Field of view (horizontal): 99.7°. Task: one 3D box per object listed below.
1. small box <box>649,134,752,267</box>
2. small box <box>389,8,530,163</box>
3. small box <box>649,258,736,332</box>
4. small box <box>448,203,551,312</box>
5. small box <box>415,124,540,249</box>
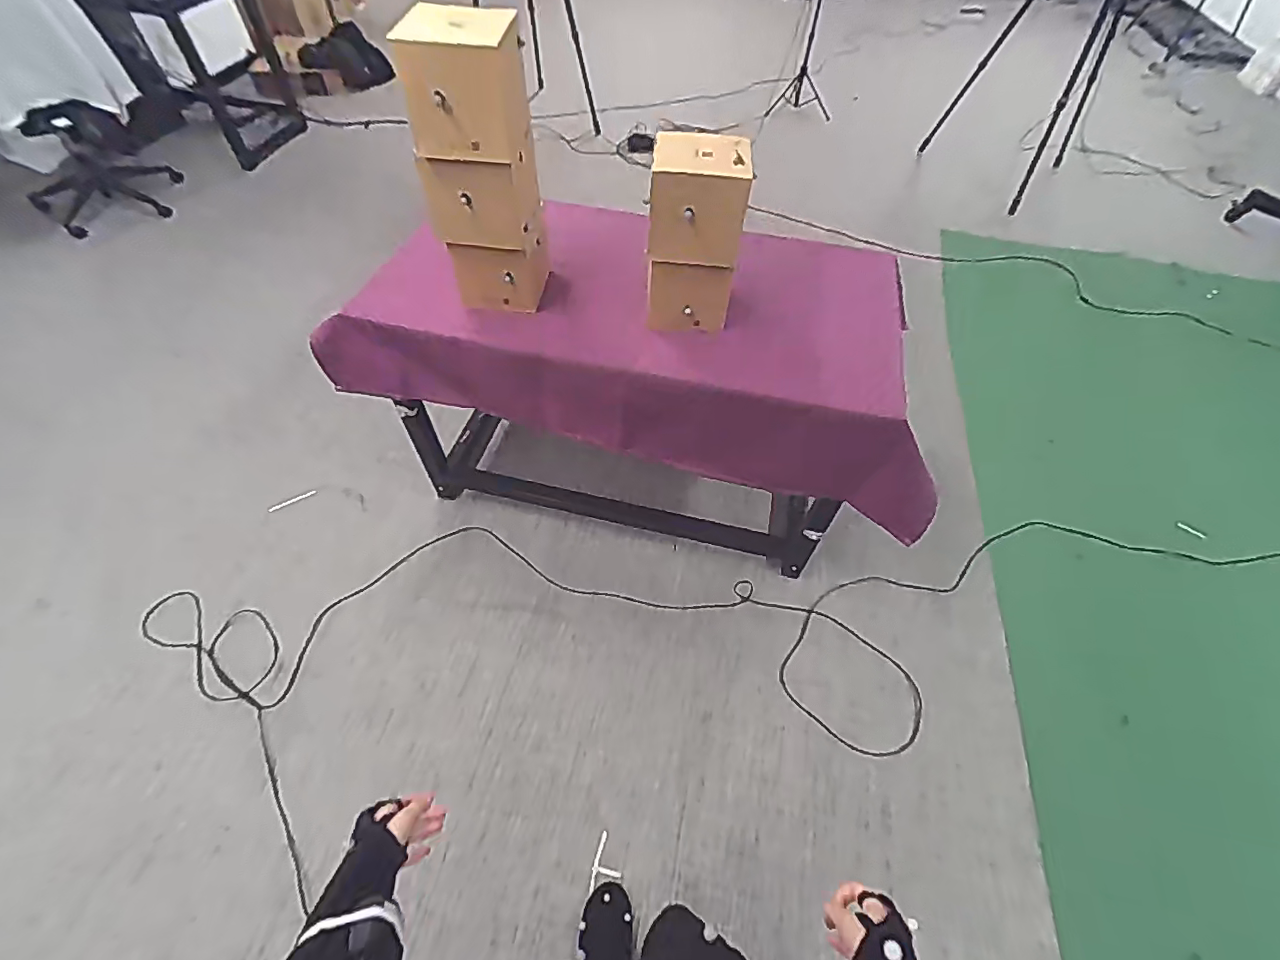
[{"bbox_3d":[0.110,-0.525,1.021,0.179,0.176,0.168,6,54,2],"label":"small box"},{"bbox_3d":[-0.285,-0.655,0.903,0.168,0.176,0.179,4,53,-1],"label":"small box"},{"bbox_3d":[0.105,-0.443,1.165,0.168,0.176,0.179,2,53,-1],"label":"small box"},{"bbox_3d":[-0.296,-0.492,1.188,0.168,0.176,0.179,7,53,2],"label":"small box"},{"bbox_3d":[-0.298,-0.569,1.042,0.179,0.176,0.168,7,54,2],"label":"small box"}]
